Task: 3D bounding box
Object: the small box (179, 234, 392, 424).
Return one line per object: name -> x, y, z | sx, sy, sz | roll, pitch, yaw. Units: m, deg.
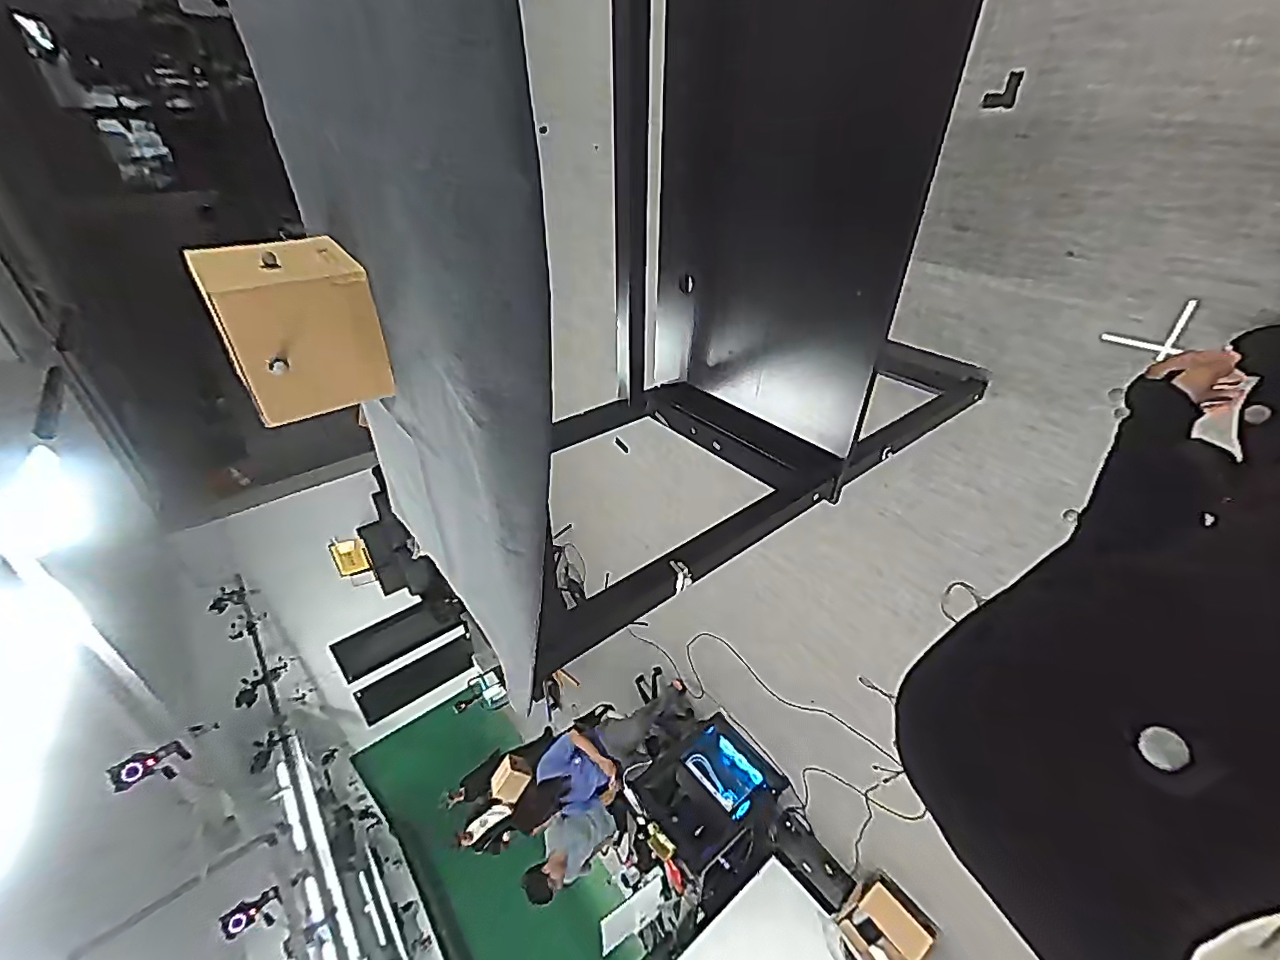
small box -> -0.454, -0.207, 0.712 | 0.168, 0.176, 0.179 | 40, 142, 35
